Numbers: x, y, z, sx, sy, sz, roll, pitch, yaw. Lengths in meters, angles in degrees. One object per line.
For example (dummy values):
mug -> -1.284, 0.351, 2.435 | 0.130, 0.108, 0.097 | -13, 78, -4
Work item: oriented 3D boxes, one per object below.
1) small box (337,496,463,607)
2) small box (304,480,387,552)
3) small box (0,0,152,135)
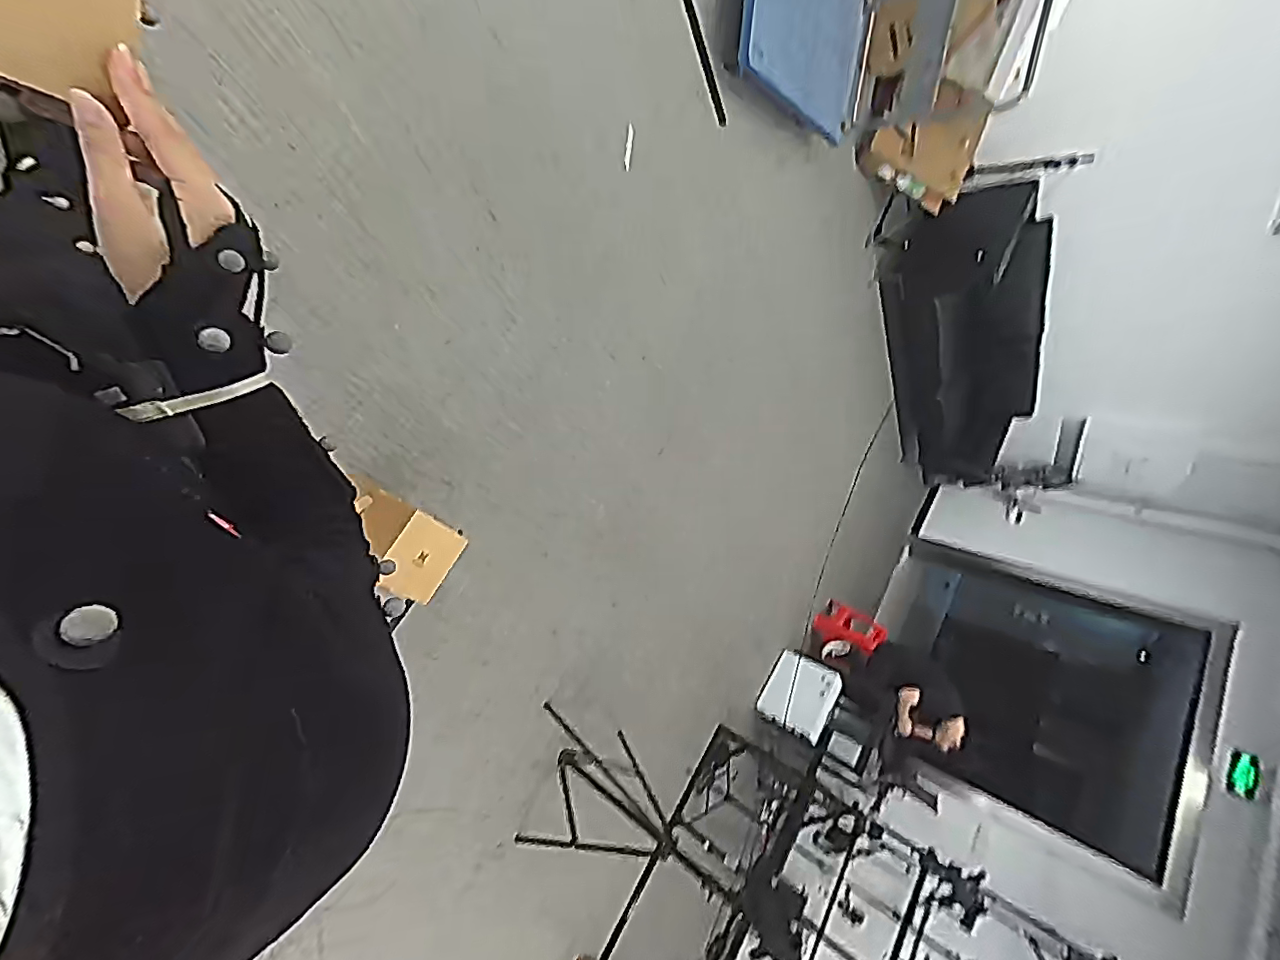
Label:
small box -> -0.554, 0.158, 1.243 | 0.179, 0.176, 0.168 | -59, 140, -16
small box -> -0.681, 0.117, 1.336 | 0.168, 0.176, 0.179 | -55, 139, -21
small box -> -0.370, -0.301, 0.268 | 0.179, 0.176, 0.168 | 2, 109, -50
